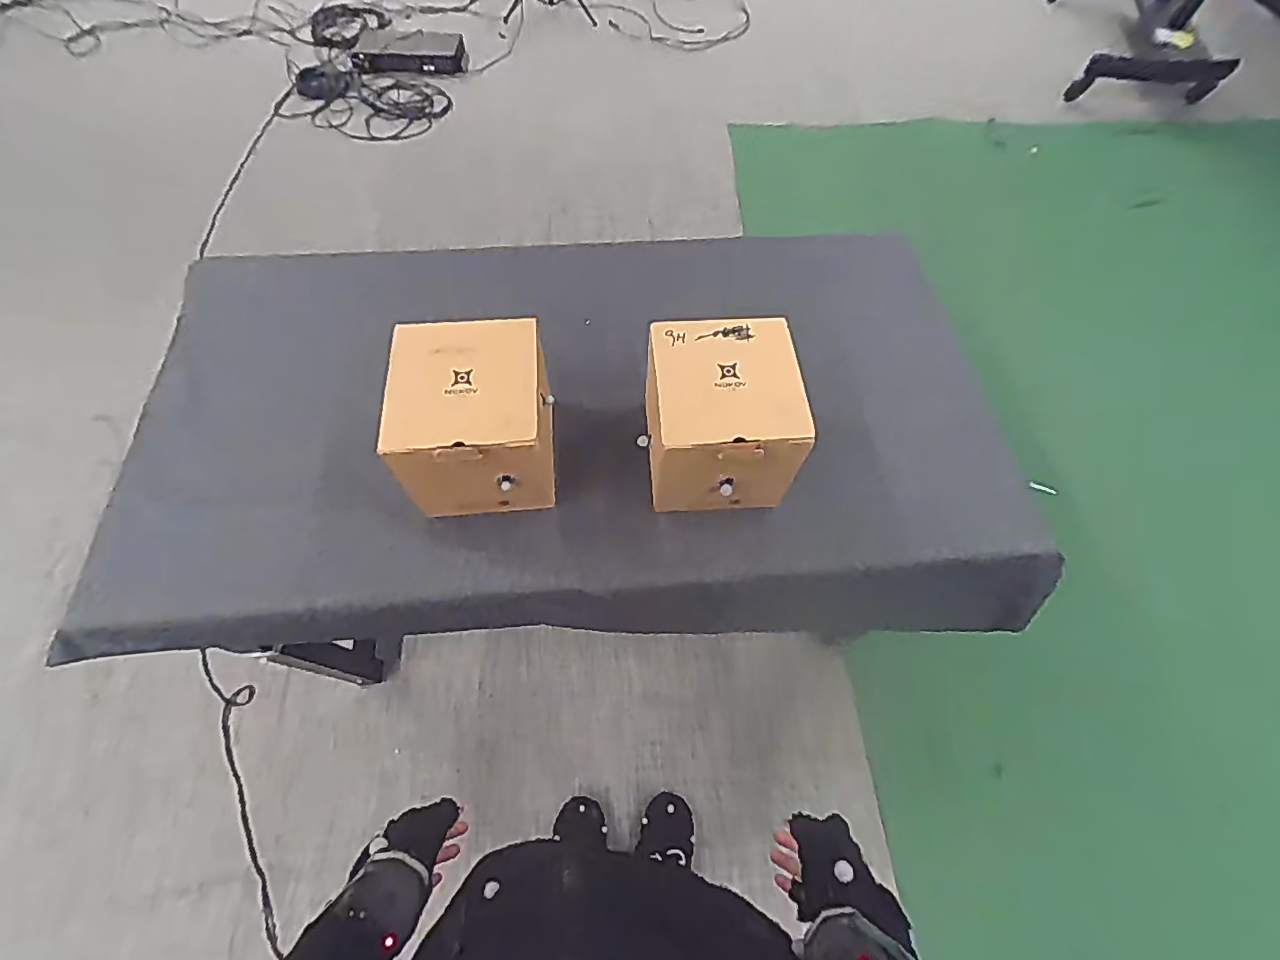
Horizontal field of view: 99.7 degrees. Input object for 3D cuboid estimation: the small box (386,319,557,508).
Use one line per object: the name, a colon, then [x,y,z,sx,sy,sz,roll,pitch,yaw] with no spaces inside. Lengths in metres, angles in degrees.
small box: [-0.196,-0.074,0.677,0.168,0.176,0.179,-5,62,-5]

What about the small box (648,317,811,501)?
small box: [0.098,-0.080,0.685,0.168,0.176,0.179,-3,64,-3]
